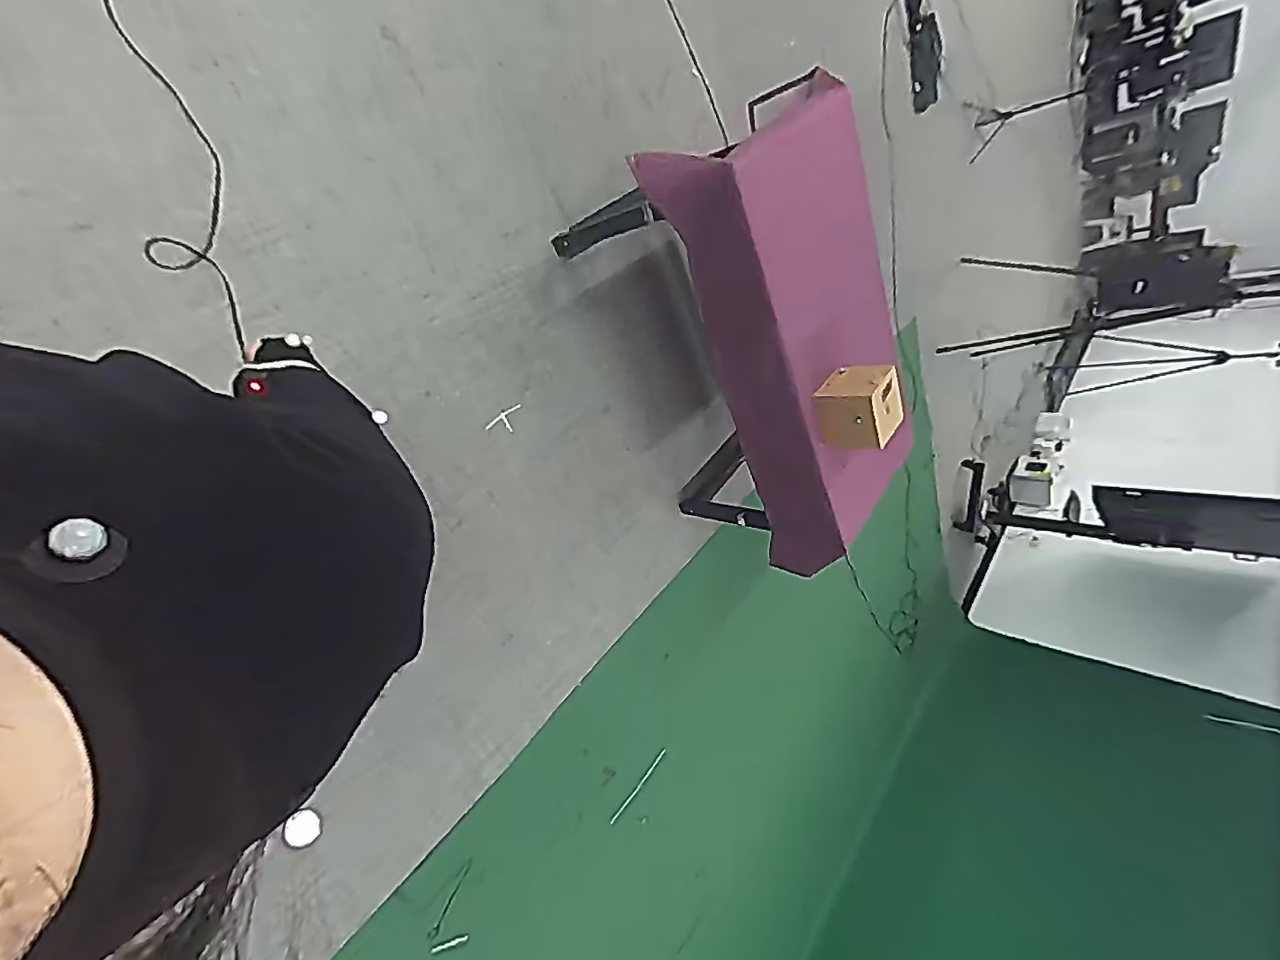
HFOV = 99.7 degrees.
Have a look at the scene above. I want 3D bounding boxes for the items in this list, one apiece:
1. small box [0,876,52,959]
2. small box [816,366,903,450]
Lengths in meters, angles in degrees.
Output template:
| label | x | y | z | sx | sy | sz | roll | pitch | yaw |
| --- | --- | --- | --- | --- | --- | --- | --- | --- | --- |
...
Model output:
| label | x | y | z | sx | sy | sz | roll | pitch | yaw |
| --- | --- | --- | --- | --- | --- | --- | --- | --- | --- |
| small box | -0.984 | 0.682 | 0.745 | 0.168 | 0.176 | 0.179 | -40 | 121 | -30 |
| small box | 0.621 | -0.204 | 1.537 | 0.168 | 0.176 | 0.179 | -44 | 124 | -30 |
